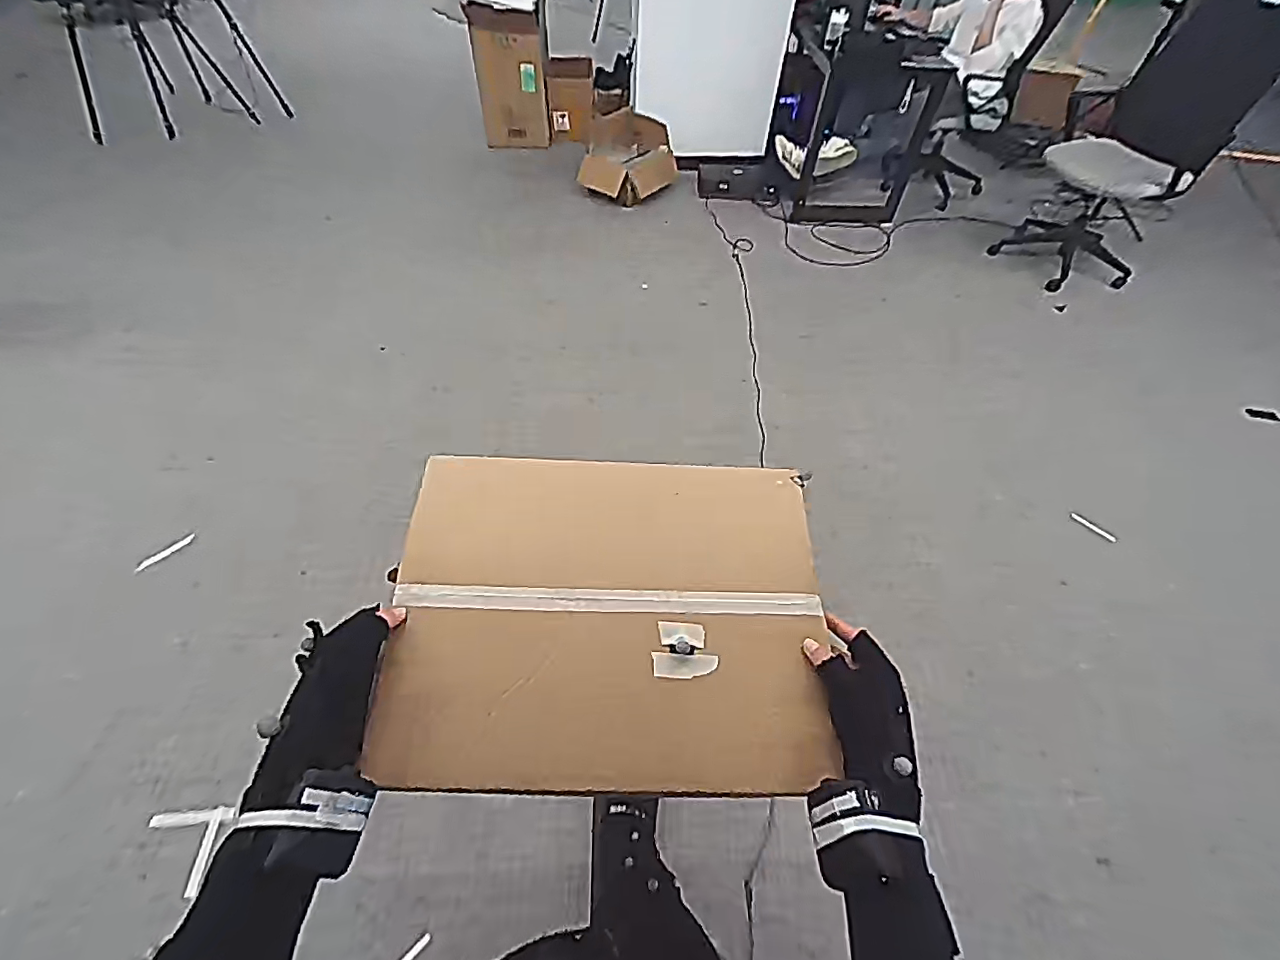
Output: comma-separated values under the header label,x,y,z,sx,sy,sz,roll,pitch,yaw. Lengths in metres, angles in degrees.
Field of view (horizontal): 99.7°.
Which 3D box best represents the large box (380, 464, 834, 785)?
label,x,y,z,sx,sy,sz,roll,pitch,yaw
large box,-0.036,0.194,0.668,0.408,0.320,0.320,2,60,-3
